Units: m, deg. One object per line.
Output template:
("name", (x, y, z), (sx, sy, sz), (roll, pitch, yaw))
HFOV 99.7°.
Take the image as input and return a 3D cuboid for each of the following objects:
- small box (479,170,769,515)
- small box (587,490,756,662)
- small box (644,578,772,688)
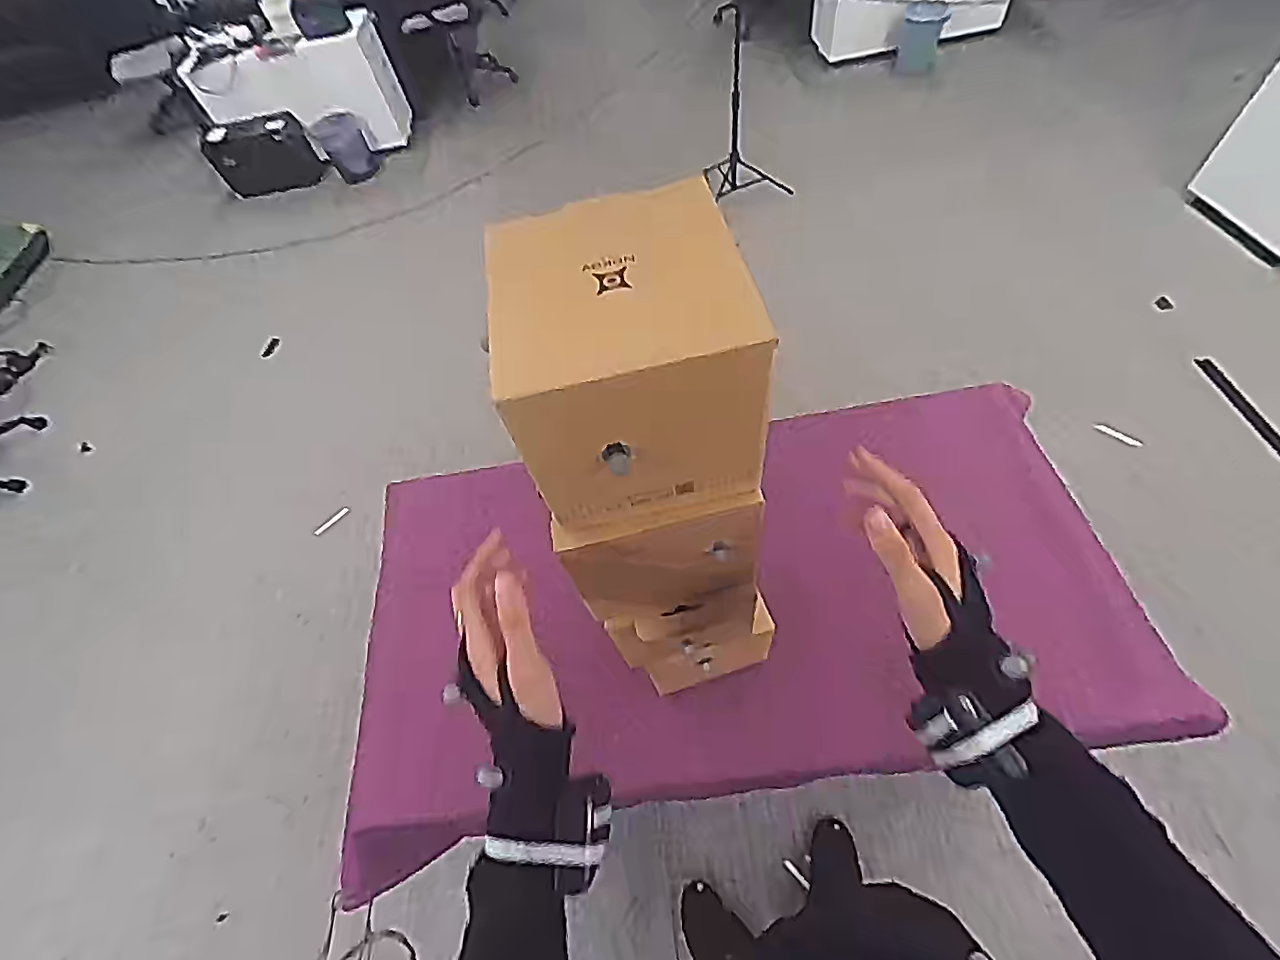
("small box", (-0.010, -0.089, 0.407), (0.168, 0.176, 0.179), (-13, 56, 1))
("small box", (0.035, 0.104, 0.668), (0.168, 0.176, 0.179), (-14, 58, 1))
("small box", (0.079, 0.191, 0.802), (0.179, 0.176, 0.168), (-18, 58, -3))
